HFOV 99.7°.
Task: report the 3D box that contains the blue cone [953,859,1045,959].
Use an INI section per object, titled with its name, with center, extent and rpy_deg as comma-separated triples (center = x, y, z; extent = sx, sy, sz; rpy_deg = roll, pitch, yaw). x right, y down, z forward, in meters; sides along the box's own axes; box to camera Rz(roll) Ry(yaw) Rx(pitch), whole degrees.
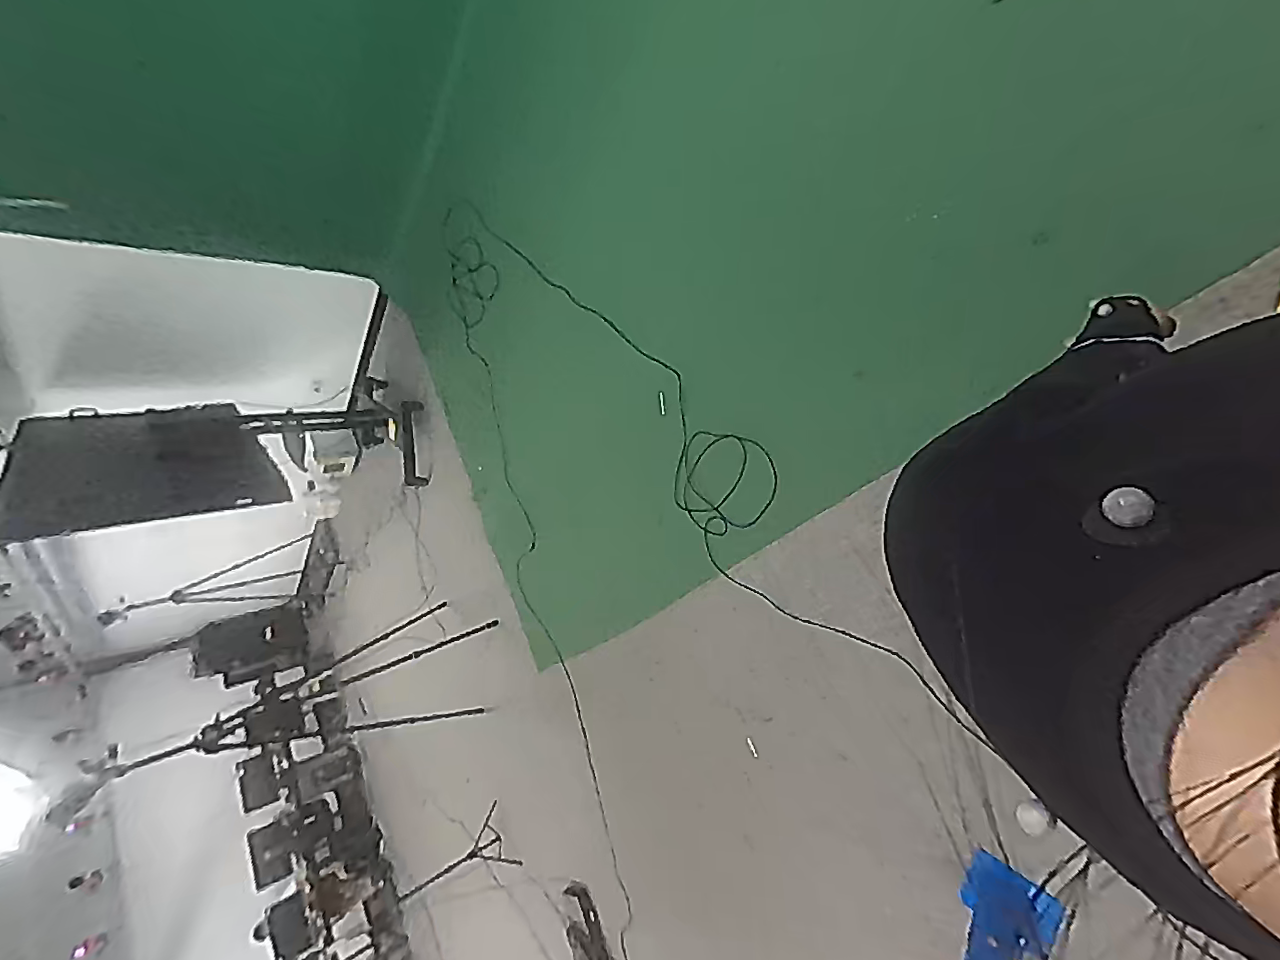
[blue cone]
center = 0.827, 1.157, 1.316
extent = 0.192, 0.380, 0.193
rpy_deg = 21, 114, 42
